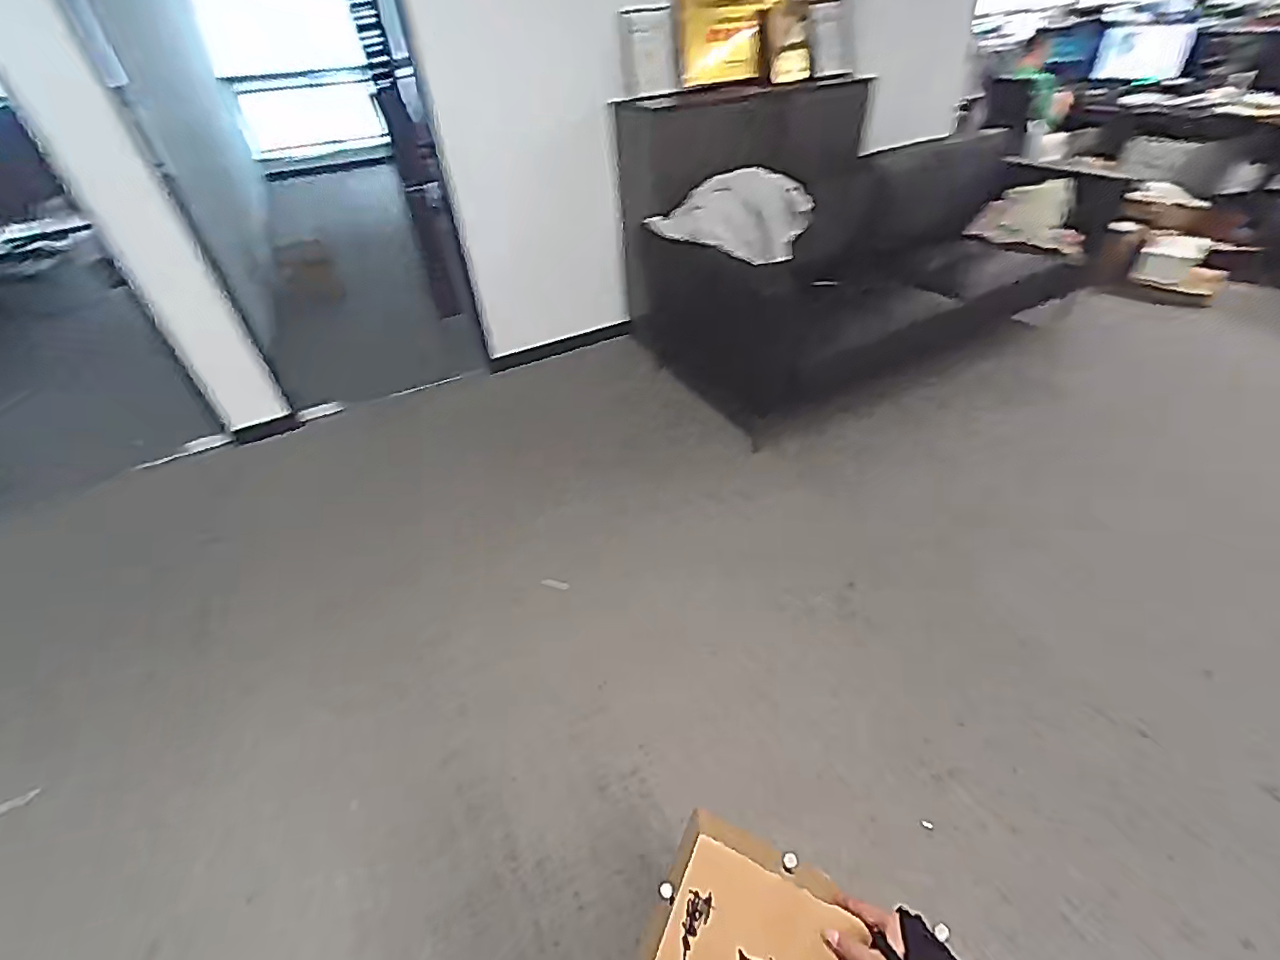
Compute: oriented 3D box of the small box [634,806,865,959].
[{"bbox_3d":[0.103,0.470,0.565,0.179,0.176,0.168,21,69,12],"label":"small box"}]
